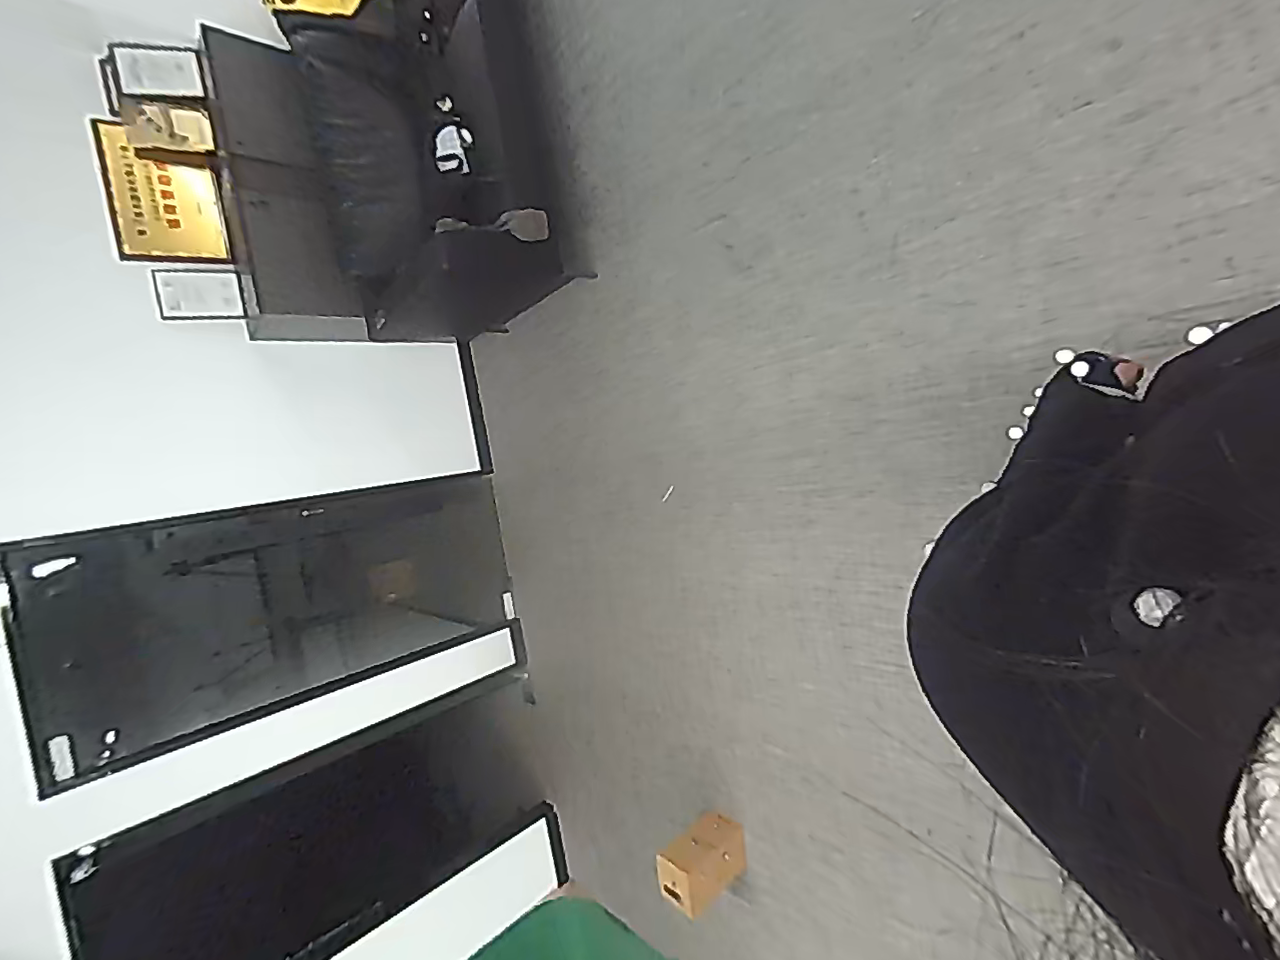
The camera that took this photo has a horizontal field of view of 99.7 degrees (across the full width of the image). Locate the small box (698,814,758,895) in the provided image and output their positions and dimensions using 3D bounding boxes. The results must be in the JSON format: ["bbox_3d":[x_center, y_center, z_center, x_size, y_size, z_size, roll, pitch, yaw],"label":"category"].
[{"bbox_3d":[0.357,1.495,2.176,0.168,0.176,0.179,1,99,49],"label":"small box"}]
